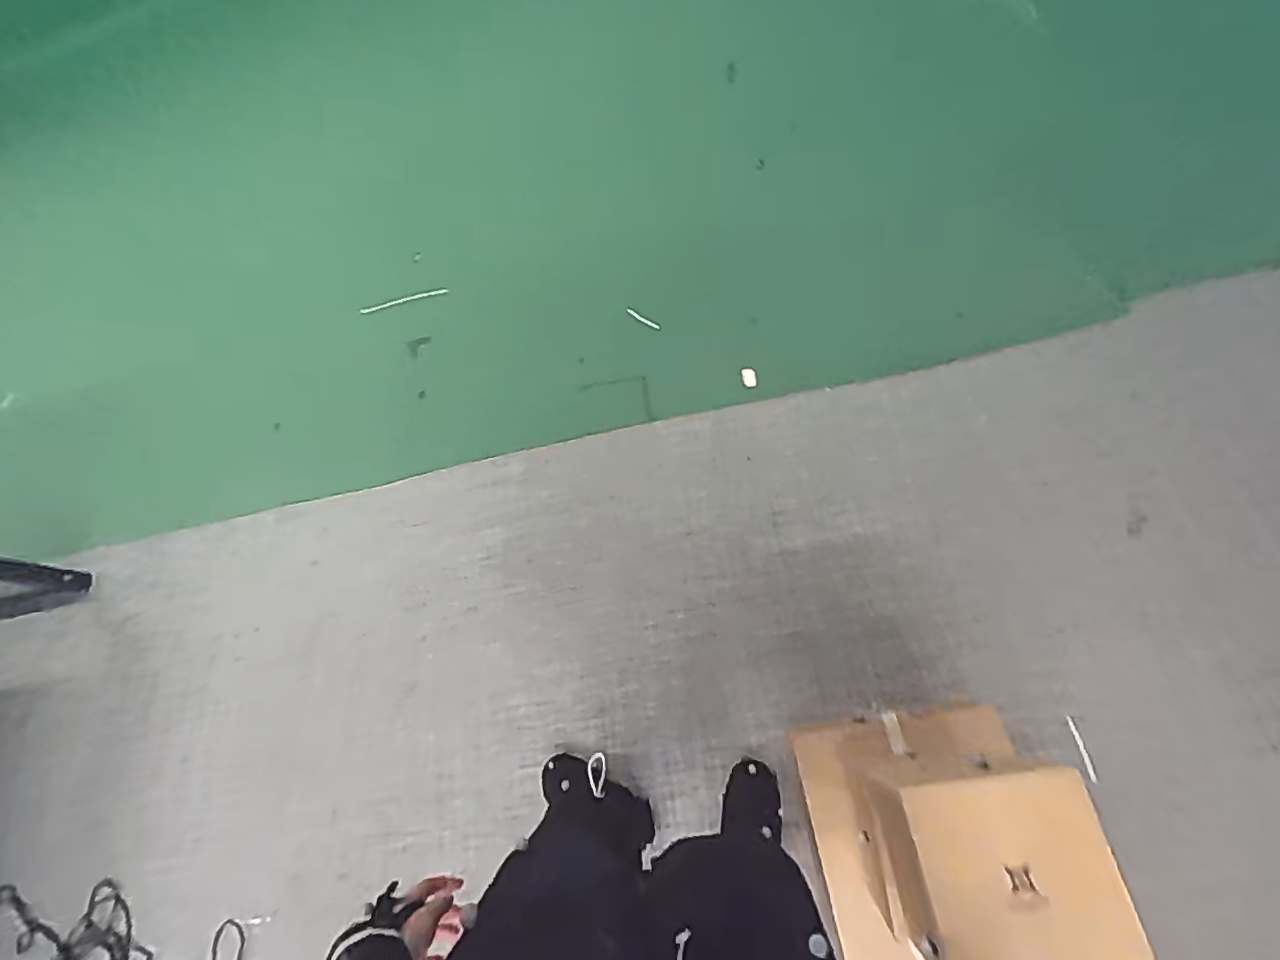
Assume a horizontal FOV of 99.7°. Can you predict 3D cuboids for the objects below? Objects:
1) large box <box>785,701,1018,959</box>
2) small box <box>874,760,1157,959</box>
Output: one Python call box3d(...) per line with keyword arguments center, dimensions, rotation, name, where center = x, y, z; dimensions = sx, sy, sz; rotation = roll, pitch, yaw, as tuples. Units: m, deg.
box3d(center=(0.452, 0.609, 0.897), dimensions=(0.320, 0.320, 0.408), rotation=(-13, 68, 8), name="large box")
box3d(center=(0.360, 0.395, 0.555), dimensions=(0.168, 0.176, 0.179), rotation=(-11, 67, 7), name="small box")
